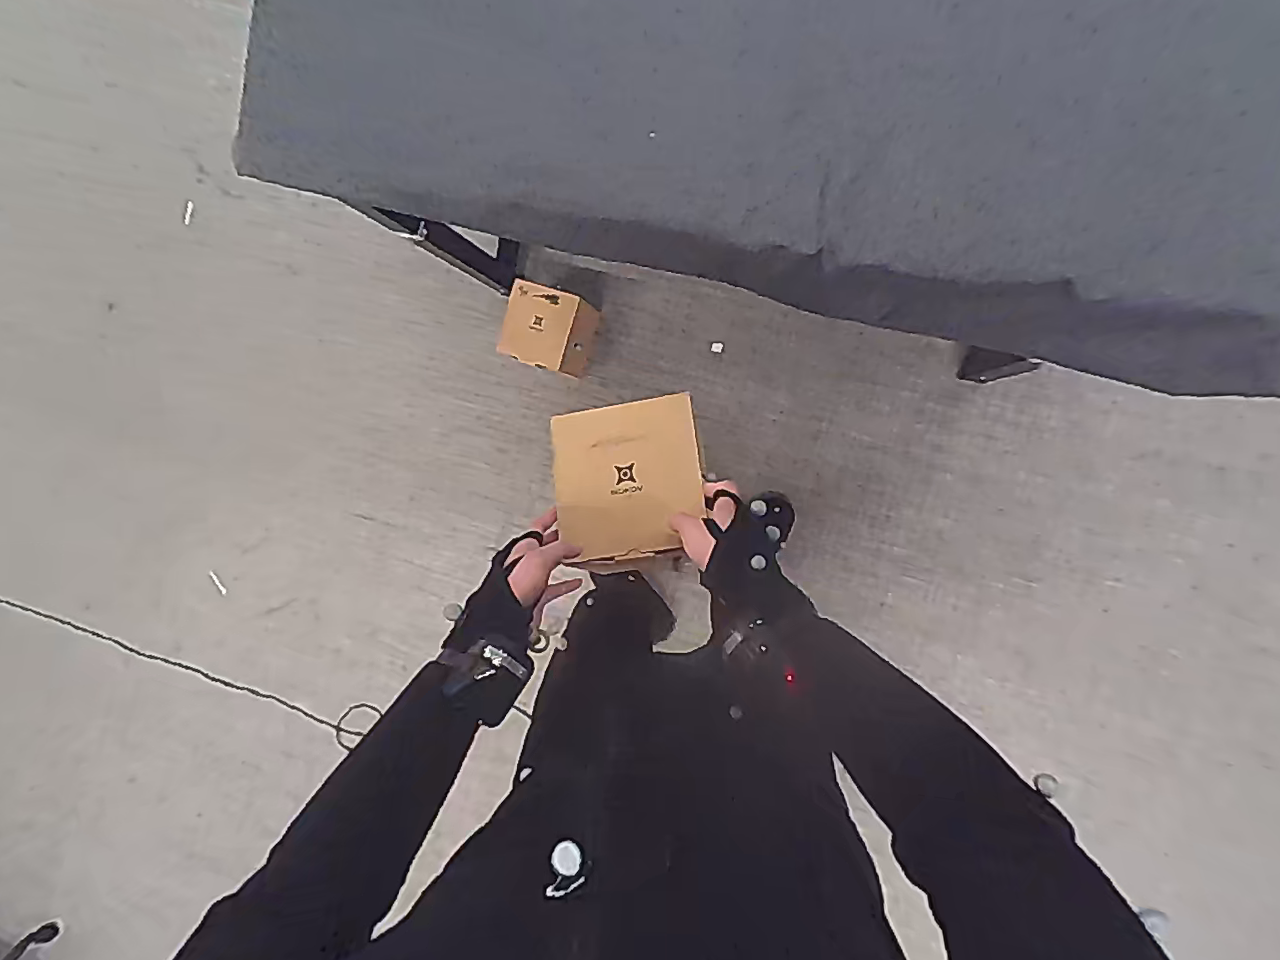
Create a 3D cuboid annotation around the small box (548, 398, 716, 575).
[{"bbox_3d":[-0.003,0.022,0.672,0.168,0.176,0.179,-10,74,9],"label":"small box"}]
